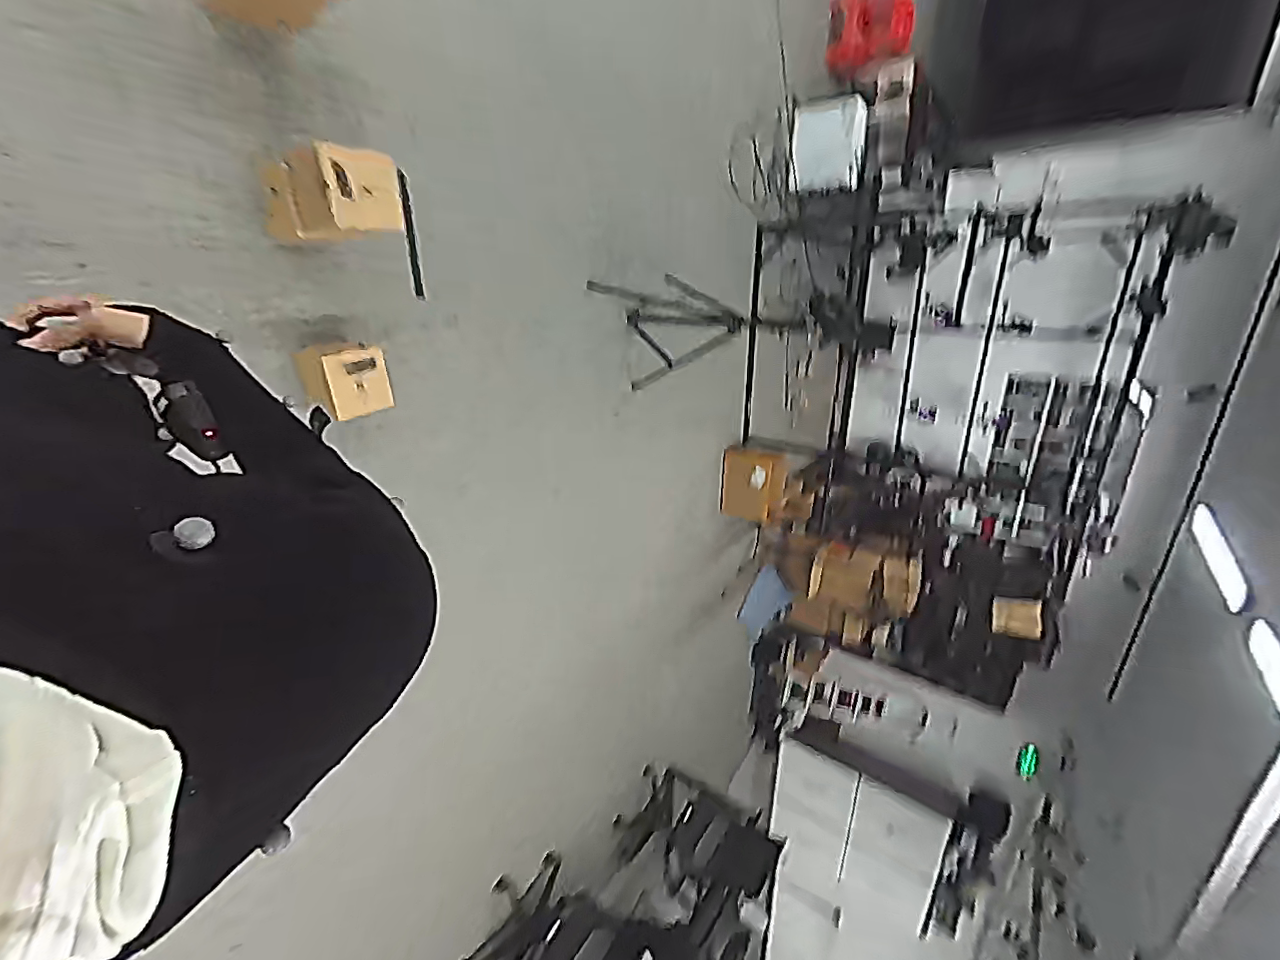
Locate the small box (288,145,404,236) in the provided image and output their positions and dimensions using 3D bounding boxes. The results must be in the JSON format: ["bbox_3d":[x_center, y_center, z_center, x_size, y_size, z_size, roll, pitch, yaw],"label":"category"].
[{"bbox_3d":[-0.697,-0.672,1.275,0.179,0.176,0.168,-29,124,-49],"label":"small box"}]

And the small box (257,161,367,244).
[{"bbox_3d":[-0.833,-0.691,1.366,0.179,0.176,0.168,-29,124,-48],"label":"small box"}]

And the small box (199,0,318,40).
[{"bbox_3d":[-0.851,-1.113,1.194,0.179,0.176,0.168,-22,118,-51],"label":"small box"}]
